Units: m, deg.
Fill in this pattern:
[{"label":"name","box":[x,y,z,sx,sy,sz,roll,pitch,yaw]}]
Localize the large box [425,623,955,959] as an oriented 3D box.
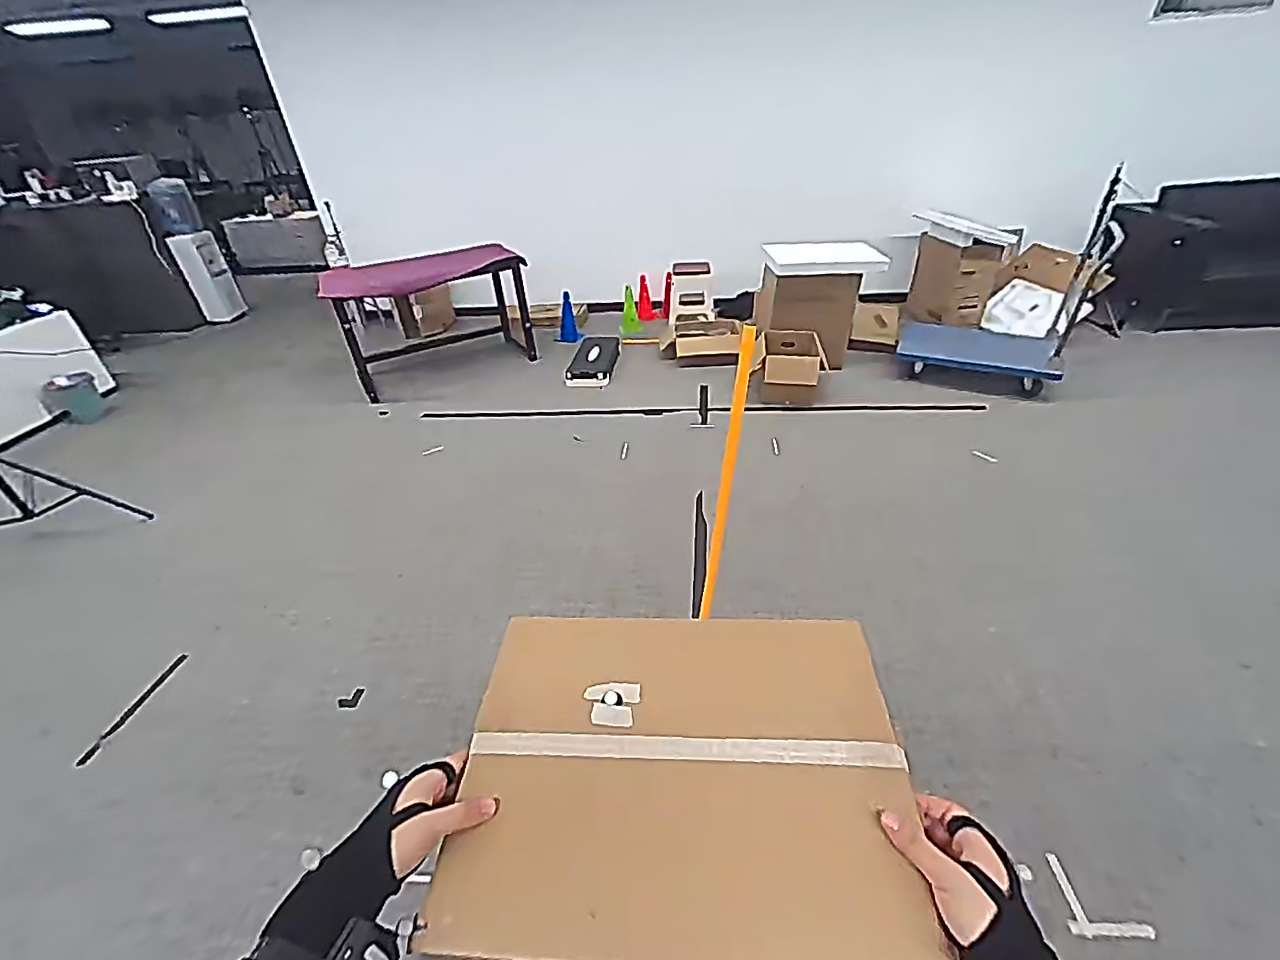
[{"label":"large box","box":[0.054,0.383,0.606,0.408,0.320,0.320,-3,36,7]}]
